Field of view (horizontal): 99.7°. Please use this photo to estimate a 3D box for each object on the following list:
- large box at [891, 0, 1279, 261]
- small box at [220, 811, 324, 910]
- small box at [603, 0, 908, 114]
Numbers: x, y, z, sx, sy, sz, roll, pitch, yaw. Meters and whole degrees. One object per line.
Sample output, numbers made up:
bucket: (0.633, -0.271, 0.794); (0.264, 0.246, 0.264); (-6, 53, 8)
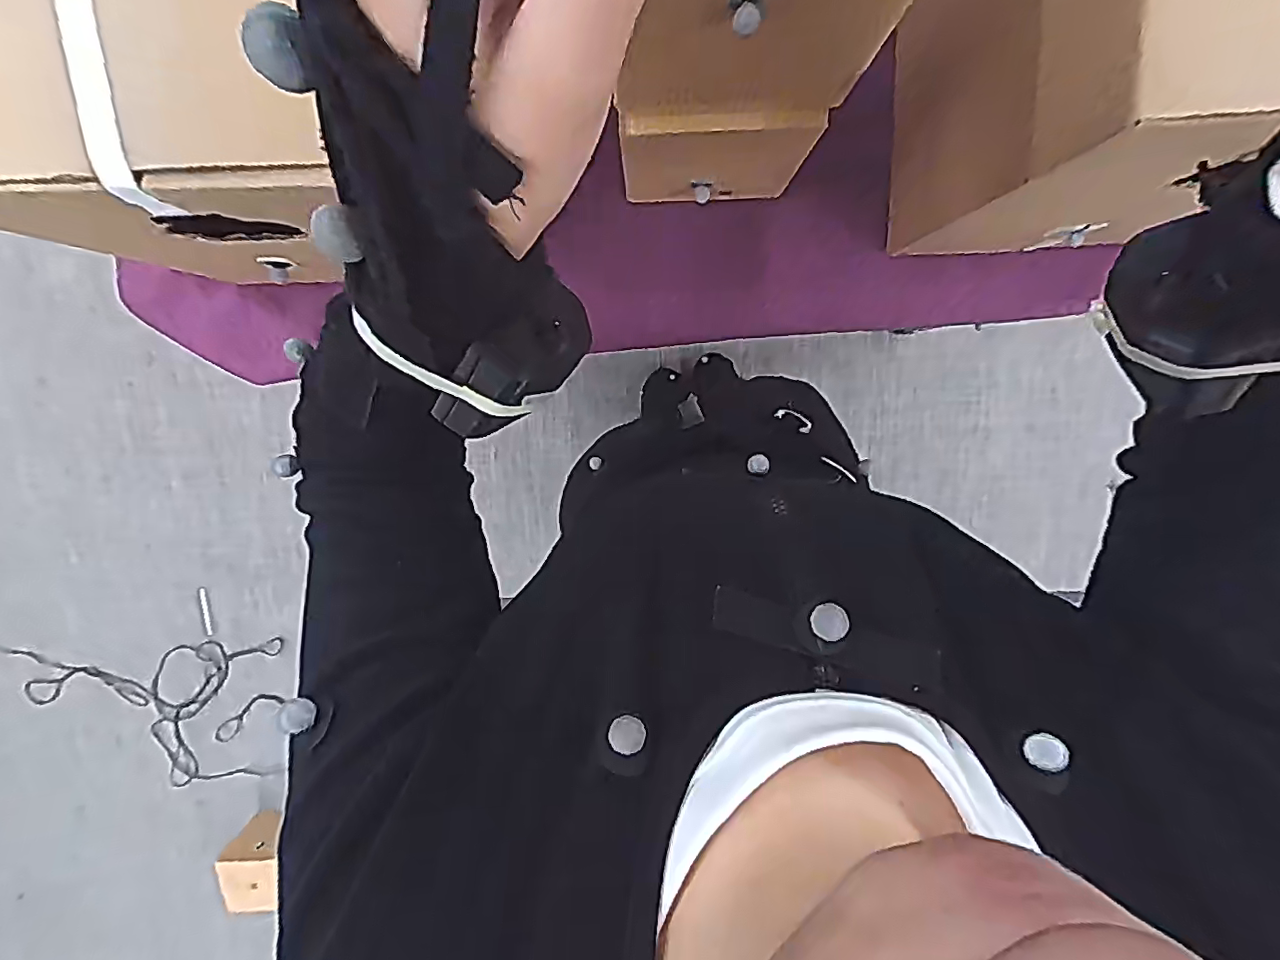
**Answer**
large box: (0.404, -0.416, 0.403); (0.320, 0.320, 0.408); (-2, 99, 1)
small box: (-1.028, 1.069, 1.532); (0.179, 0.176, 0.168); (-3, 101, 2)
small box: (0.066, -0.351, 0.327); (0.179, 0.176, 0.168); (-1, 100, 3)
